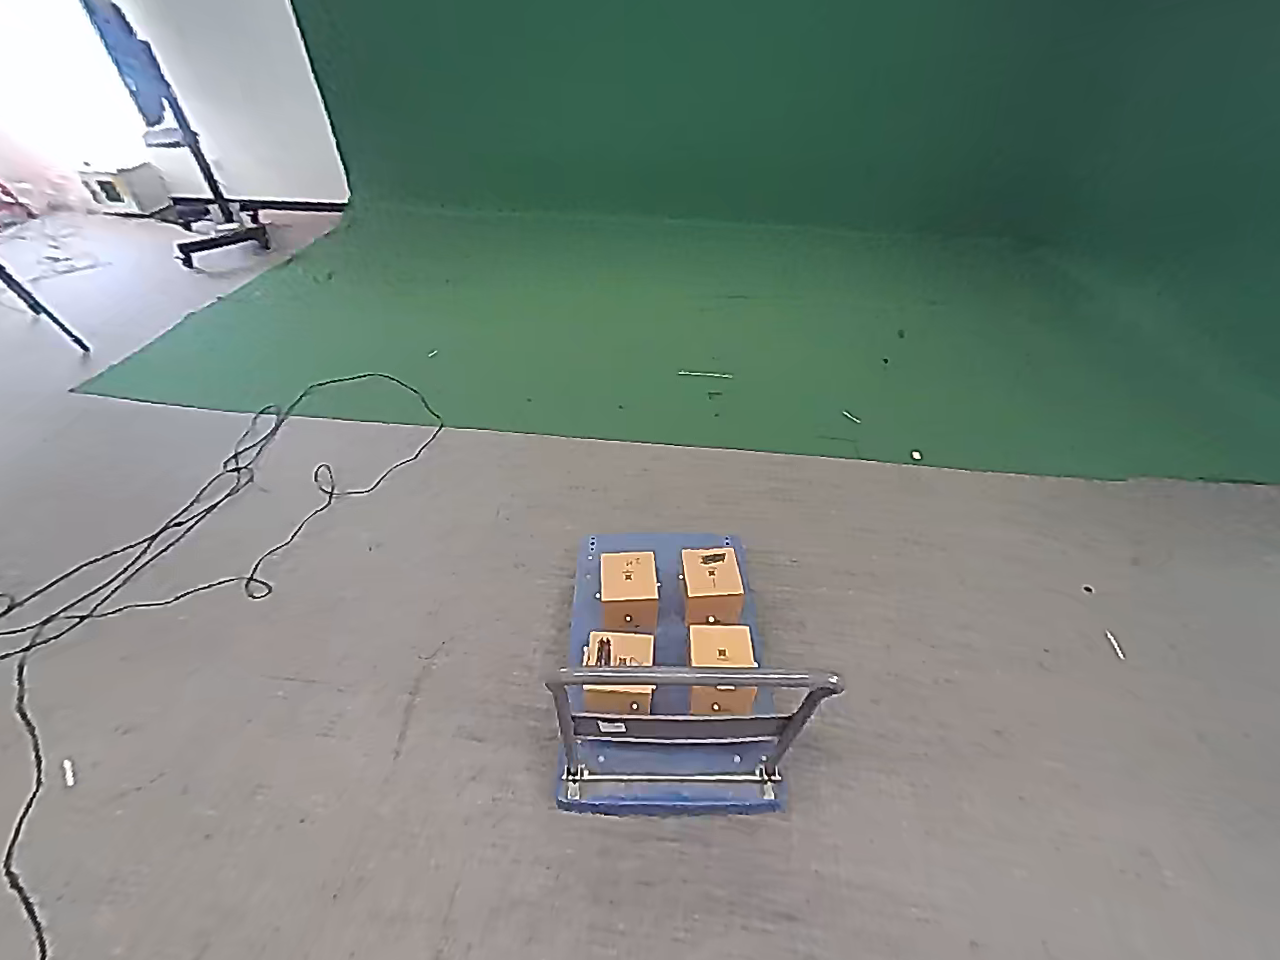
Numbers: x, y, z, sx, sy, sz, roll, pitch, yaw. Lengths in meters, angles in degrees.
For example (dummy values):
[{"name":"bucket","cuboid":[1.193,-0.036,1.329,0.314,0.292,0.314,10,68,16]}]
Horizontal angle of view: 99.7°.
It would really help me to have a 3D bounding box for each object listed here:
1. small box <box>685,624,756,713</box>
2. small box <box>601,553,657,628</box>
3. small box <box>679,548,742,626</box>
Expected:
[{"name":"small box","cuboid":[0.217,0.523,1.502,0.168,0.176,0.179,1,44,0]},{"name":"small box","cuboid":[-0.036,0.348,1.683,0.168,0.176,0.179,-2,43,-4]},{"name":"small box","cuboid":[0.215,0.336,1.698,0.168,0.176,0.179,-3,44,-2]}]
